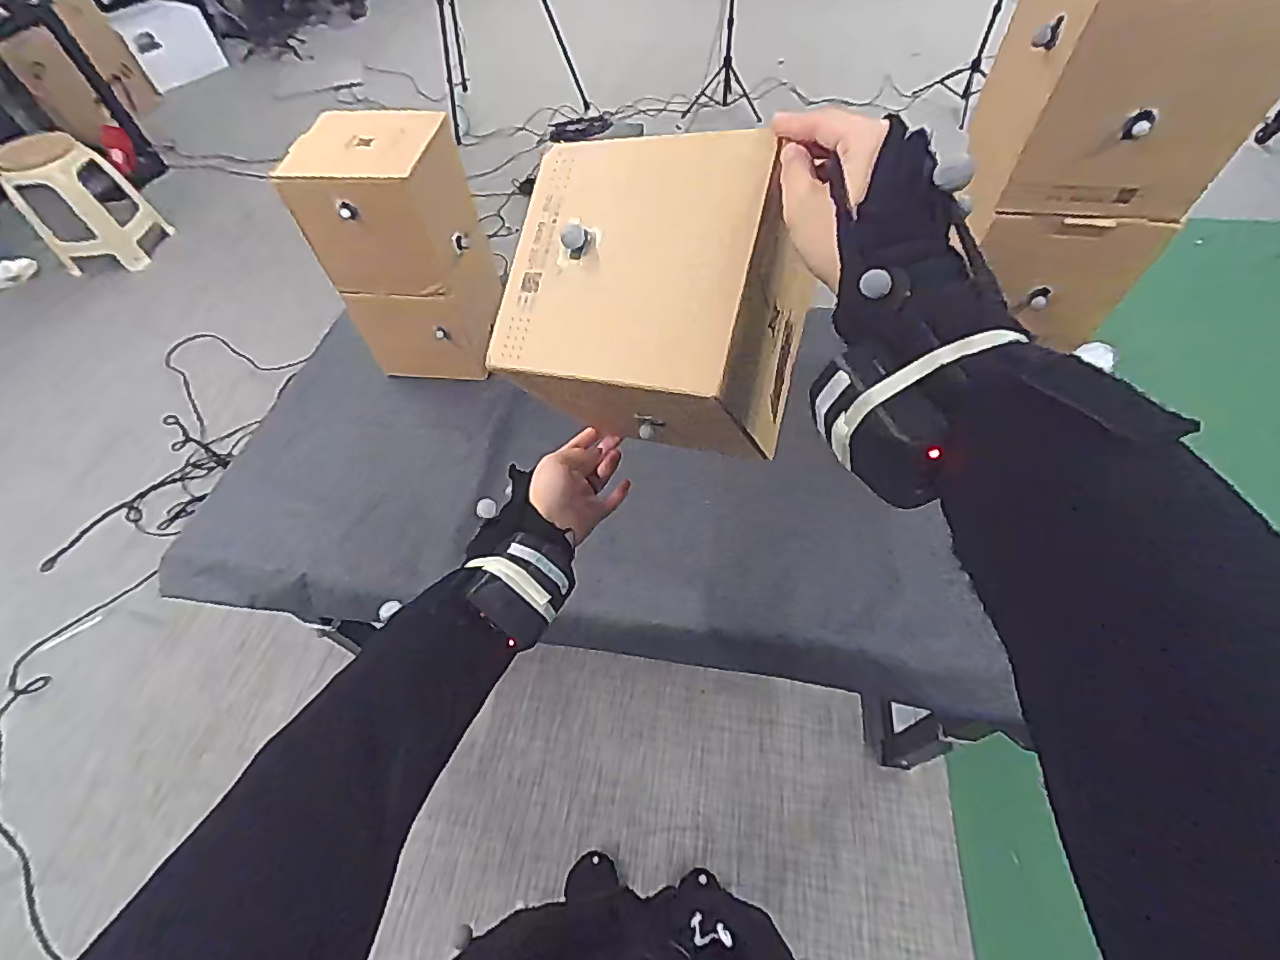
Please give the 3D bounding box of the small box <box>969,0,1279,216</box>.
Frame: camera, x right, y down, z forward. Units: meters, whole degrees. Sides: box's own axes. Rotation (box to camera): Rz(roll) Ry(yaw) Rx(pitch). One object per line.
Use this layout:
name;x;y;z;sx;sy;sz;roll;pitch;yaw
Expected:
small box;0.430;-0.364;0.491;0.168;0.176;0.179;7;57;8

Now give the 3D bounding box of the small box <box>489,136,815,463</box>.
small box;0.021;-0.124;0.413;0.176;0.179;0.168;13;84;26

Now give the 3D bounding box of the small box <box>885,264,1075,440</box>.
small box;0.457;-0.183;0.764;0.168;0.176;0.179;8;57;9

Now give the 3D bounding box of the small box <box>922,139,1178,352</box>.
small box;0.445;-0.271;0.626;0.168;0.176;0.179;9;58;9

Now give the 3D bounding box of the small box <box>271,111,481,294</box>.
small box;-0.341;-0.375;0.741;0.179;0.176;0.168;4;58;4
